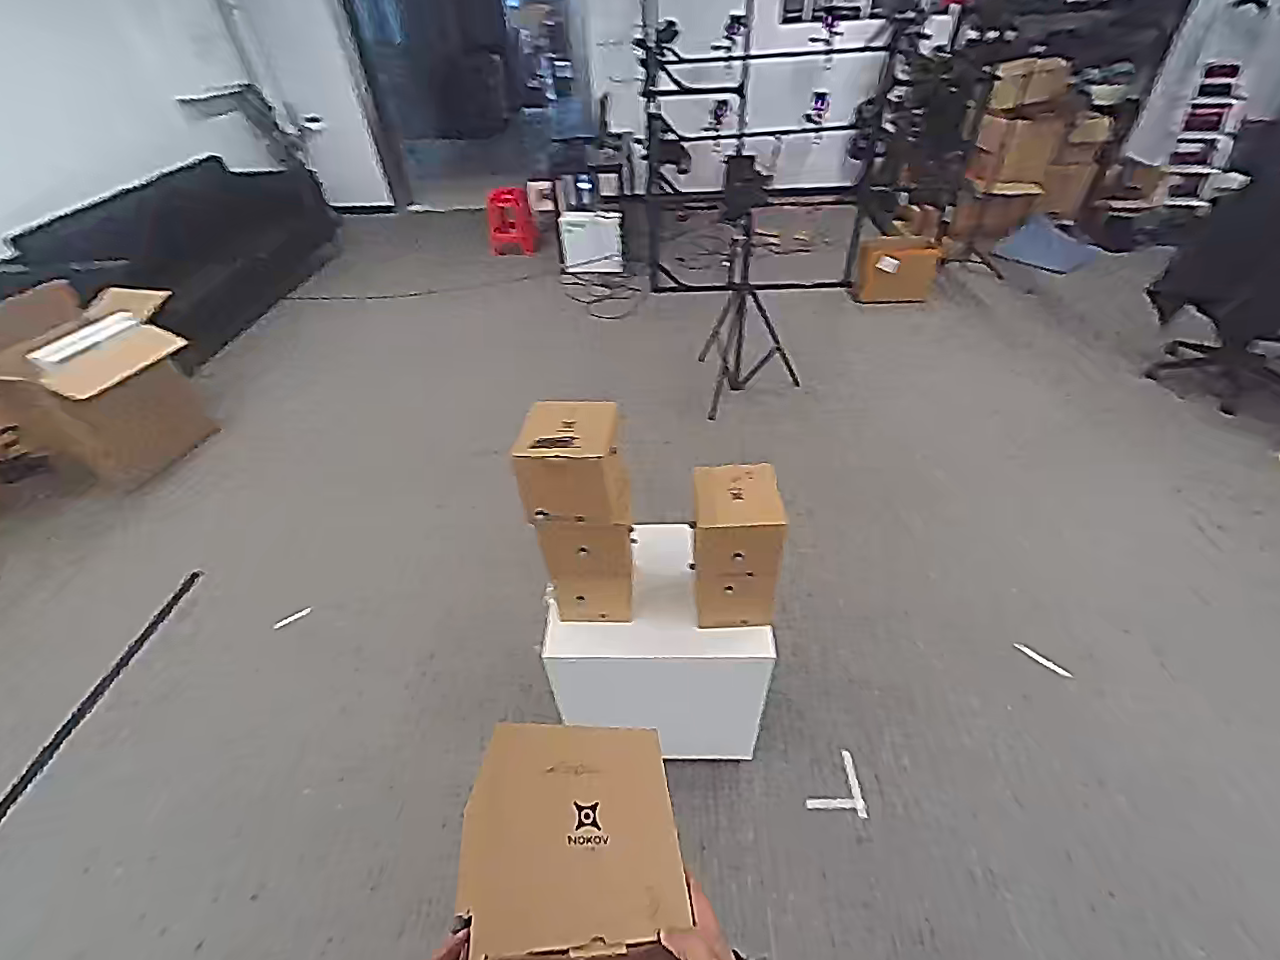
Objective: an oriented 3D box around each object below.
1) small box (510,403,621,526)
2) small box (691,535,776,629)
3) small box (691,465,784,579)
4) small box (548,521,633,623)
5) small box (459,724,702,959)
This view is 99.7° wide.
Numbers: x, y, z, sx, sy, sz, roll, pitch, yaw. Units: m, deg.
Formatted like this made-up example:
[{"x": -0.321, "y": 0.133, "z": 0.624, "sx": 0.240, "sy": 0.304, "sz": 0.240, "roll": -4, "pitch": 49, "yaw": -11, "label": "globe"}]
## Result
[{"x": -0.130, "y": -0.029, "z": 1.025, "sx": 0.168, "sy": 0.176, "sz": 0.179, "roll": 1, "pitch": 41, "yaw": 6, "label": "small box"}, {"x": 0.202, "y": 0.214, "z": 1.220, "sx": 0.168, "sy": 0.176, "sz": 0.179, "roll": -4, "pitch": 41, "yaw": 2, "label": "small box"}, {"x": 0.192, "y": 0.090, "z": 1.110, "sx": 0.168, "sy": 0.176, "sz": 0.179, "roll": -2, "pitch": 42, "yaw": 2, "label": "small box"}, {"x": -0.106, "y": 0.213, "z": 1.248, "sx": 0.168, "sy": 0.176, "sz": 0.179, "roll": 0, "pitch": 41, "yaw": 3, "label": "small box"}, {"x": -0.065, "y": 0.357, "z": 0.502, "sx": 0.168, "sy": 0.176, "sz": 0.179, "roll": 12, "pitch": 32, "yaw": -19, "label": "small box"}]
